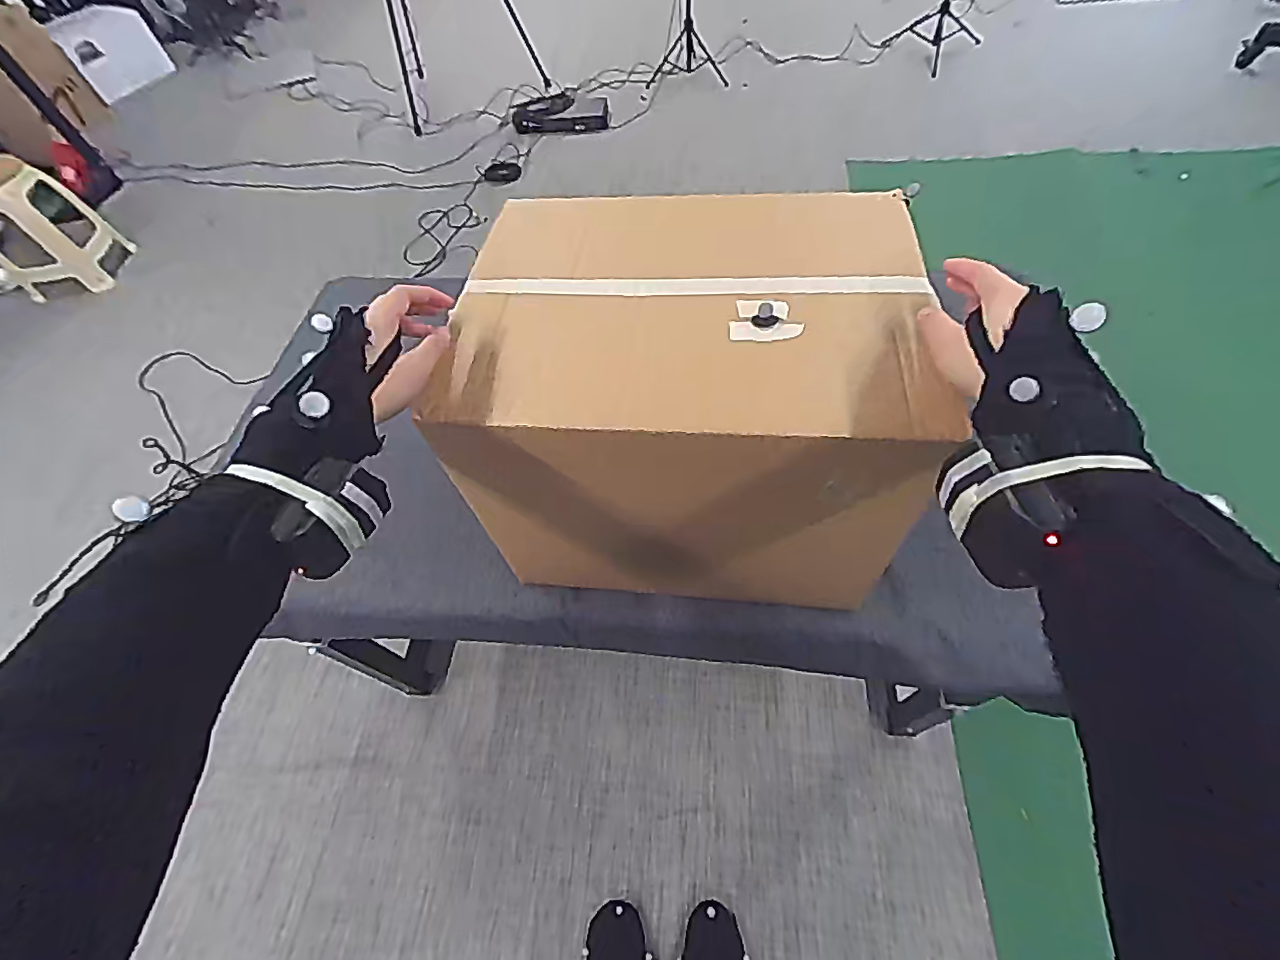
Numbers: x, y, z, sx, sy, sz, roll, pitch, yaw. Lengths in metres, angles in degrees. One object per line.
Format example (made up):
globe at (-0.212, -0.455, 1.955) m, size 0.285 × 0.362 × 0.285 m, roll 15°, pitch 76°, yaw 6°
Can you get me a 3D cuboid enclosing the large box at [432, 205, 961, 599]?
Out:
large box at (0.055, -0.077, 0.606) m, size 0.408 × 0.320 × 0.320 m, roll 3°, pitch 56°, yaw 7°
